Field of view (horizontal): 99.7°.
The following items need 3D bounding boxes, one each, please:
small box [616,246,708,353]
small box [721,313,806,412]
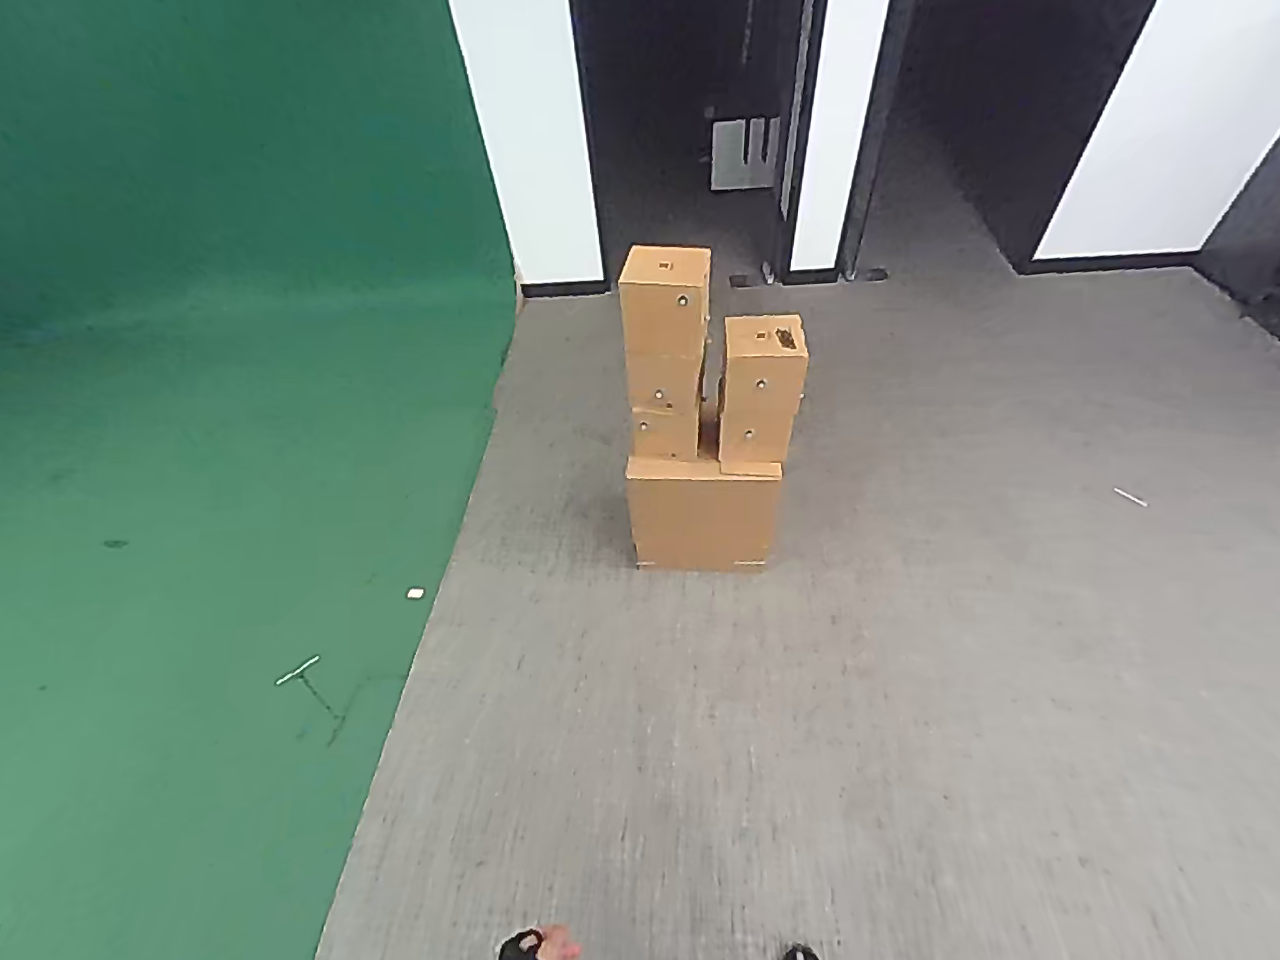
[{"bbox_3d":[0.054,-0.398,1.196,0.179,0.176,0.168,6,49,8],"label":"small box"},{"bbox_3d":[0.285,-0.276,1.283,0.179,0.176,0.168,-1,49,7],"label":"small box"}]
